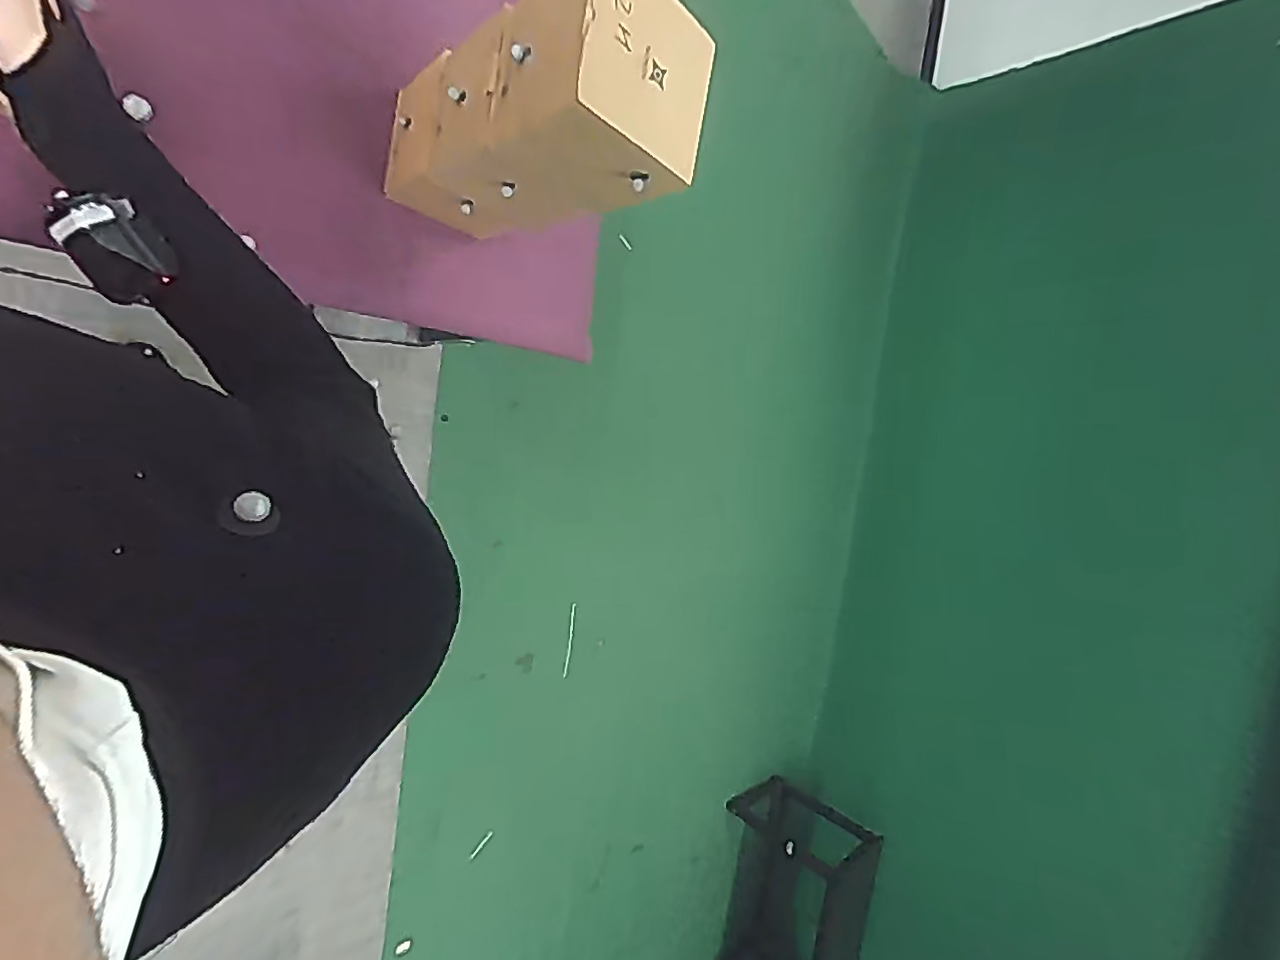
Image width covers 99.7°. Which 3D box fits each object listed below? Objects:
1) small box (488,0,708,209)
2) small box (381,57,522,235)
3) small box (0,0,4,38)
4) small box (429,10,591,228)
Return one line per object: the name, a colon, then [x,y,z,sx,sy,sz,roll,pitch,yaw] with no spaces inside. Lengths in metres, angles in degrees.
small box: [-0.049,-0.441,0.634,0.179,0.176,0.168,8,93,-45]
small box: [-0.282,-0.507,0.858,0.179,0.176,0.168,8,94,-45]
small box: [-0.555,-0.429,0.355,0.179,0.176,0.168,0,98,-46]
small box: [-0.168,-0.471,0.745,0.179,0.176,0.168,8,93,-45]
